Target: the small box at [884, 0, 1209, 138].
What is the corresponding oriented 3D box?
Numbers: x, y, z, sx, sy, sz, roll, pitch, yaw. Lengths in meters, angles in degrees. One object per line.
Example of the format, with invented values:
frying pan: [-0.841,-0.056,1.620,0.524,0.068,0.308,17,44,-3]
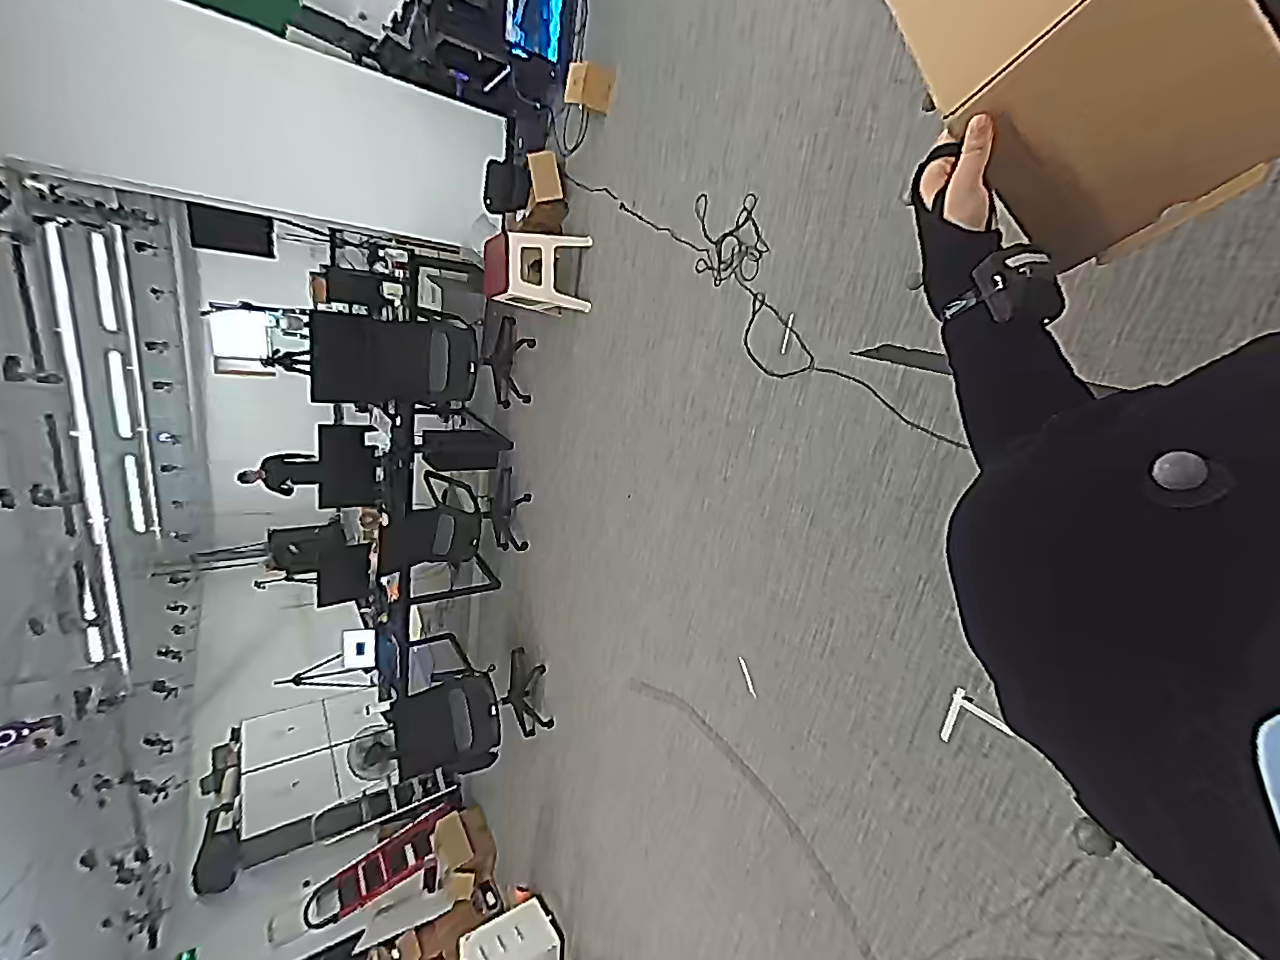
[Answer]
small box: [0.337,-0.429,0.460,0.168,0.176,0.179,-30,74,51]
